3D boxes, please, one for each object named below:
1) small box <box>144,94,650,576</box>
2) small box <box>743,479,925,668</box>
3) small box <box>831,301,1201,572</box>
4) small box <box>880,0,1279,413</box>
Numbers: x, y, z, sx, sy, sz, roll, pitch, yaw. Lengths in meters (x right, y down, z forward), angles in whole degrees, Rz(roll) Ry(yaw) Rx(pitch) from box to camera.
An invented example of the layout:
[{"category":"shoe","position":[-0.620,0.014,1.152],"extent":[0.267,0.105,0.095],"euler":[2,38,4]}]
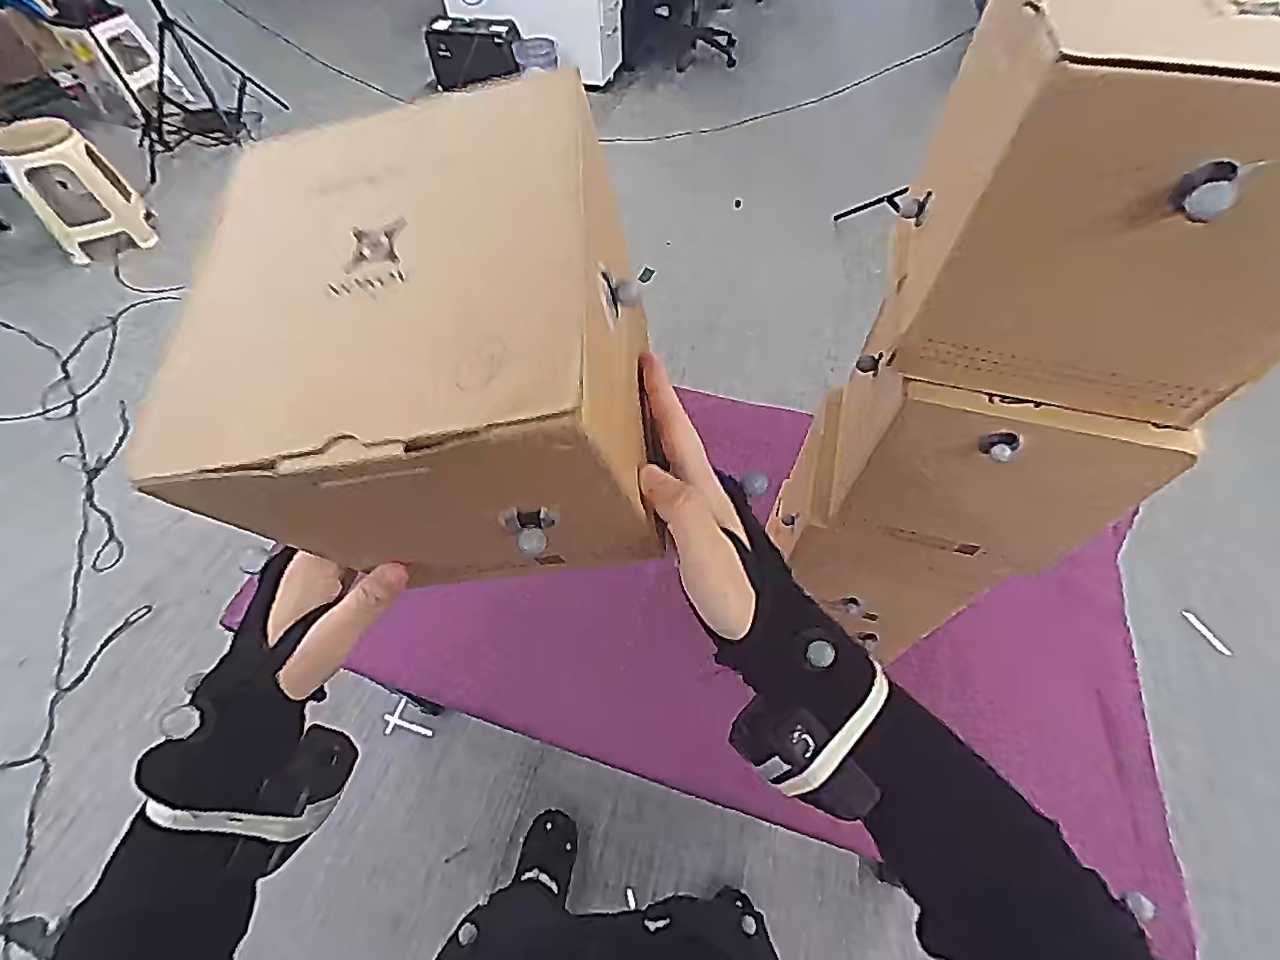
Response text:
[{"category":"small box","position":[-0.092,-0.053,0.292],"extent":[0.168,0.176,0.179],"euler":[-8,64,8]},{"category":"small box","position":[0.244,0.127,0.701],"extent":[0.179,0.176,0.168],"euler":[13,56,10]},{"category":"small box","position":[0.261,-0.055,0.428],"extent":[0.168,0.176,0.179],"euler":[13,56,9]},{"category":"small box","position":[0.257,-0.158,0.302],"extent":[0.179,0.176,0.168],"euler":[12,57,9]}]
